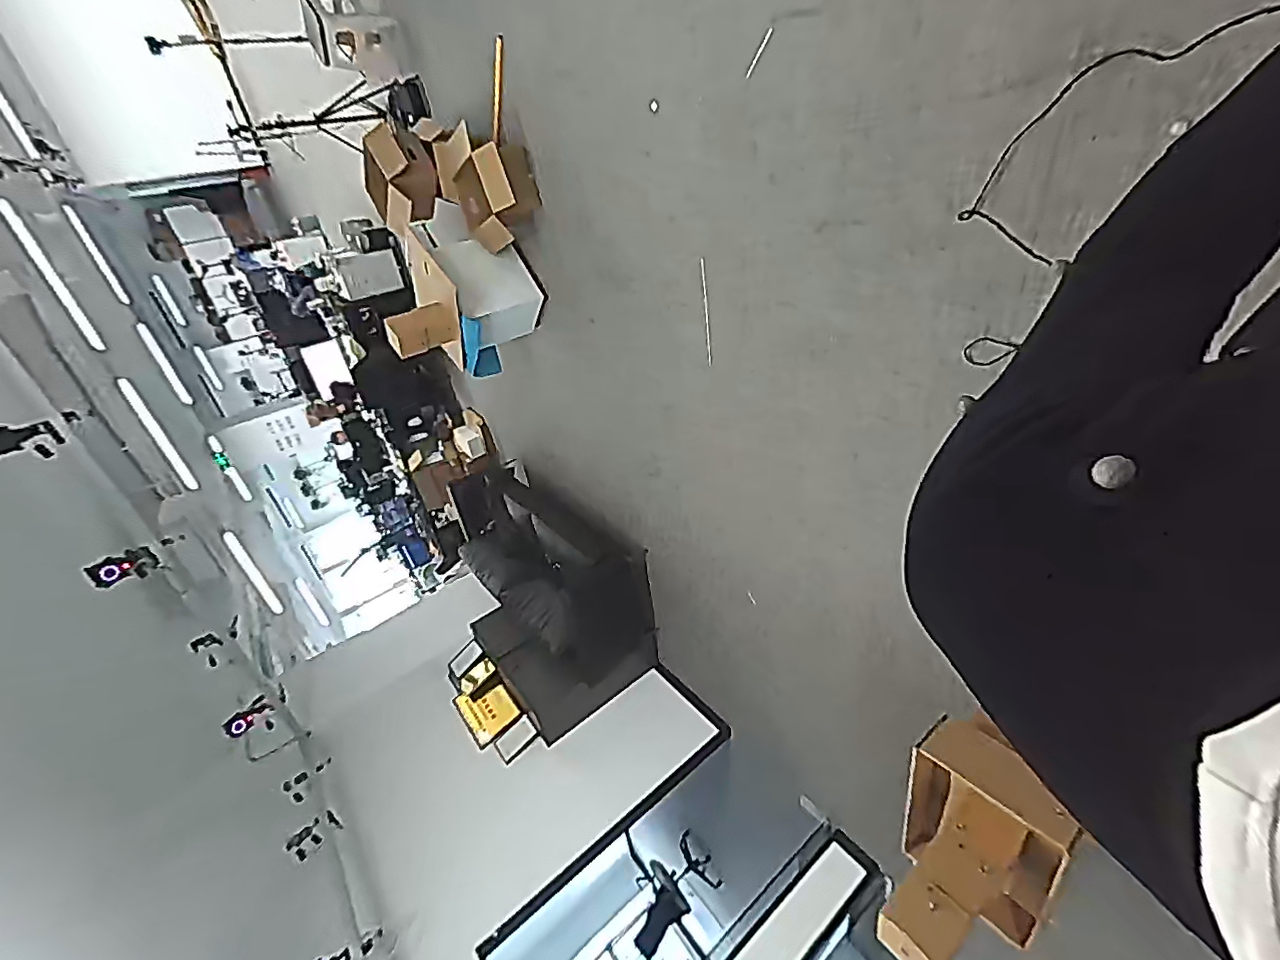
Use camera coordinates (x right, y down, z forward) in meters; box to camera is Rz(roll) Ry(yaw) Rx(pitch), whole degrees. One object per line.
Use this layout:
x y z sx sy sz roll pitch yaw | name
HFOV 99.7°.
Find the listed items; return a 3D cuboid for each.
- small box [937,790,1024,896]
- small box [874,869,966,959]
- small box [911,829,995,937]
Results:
1.030 1.096 1.646 0.179 0.176 0.168 27 138 47 | small box
0.774 1.240 1.497 0.168 0.176 0.179 27 137 47 | small box
0.902 1.171 1.575 0.168 0.176 0.179 30 140 46 | small box
